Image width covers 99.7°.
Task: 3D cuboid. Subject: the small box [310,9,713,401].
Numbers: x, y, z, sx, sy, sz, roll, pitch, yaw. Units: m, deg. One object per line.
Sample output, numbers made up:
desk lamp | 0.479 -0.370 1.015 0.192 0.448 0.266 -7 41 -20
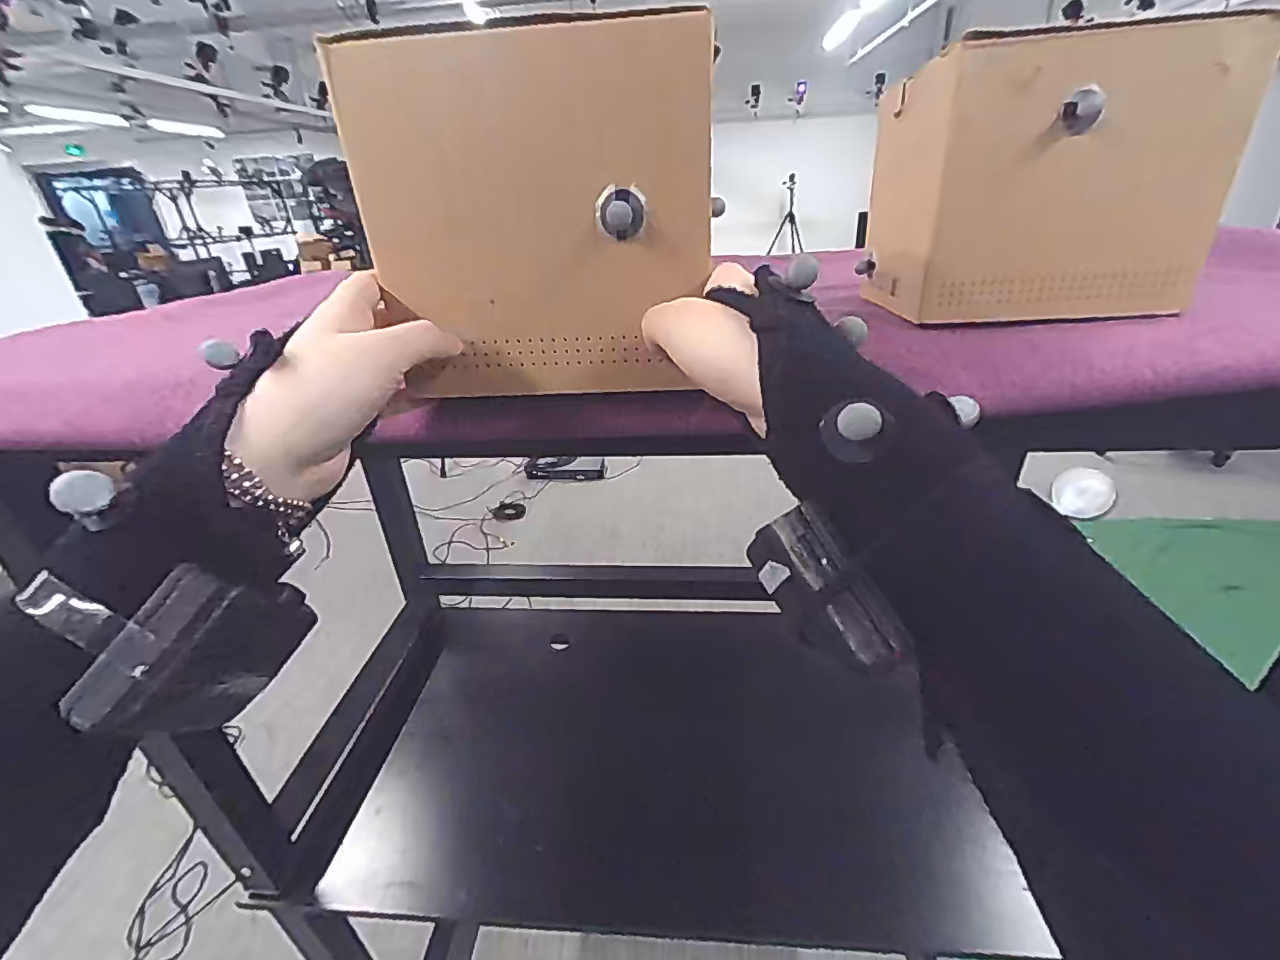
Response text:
small box | -0.049 -0.154 0.335 0.179 0.176 0.168 -2 27 4

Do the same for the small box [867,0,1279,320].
small box | 0.283 -0.220 0.410 0.179 0.176 0.168 0 27 7
